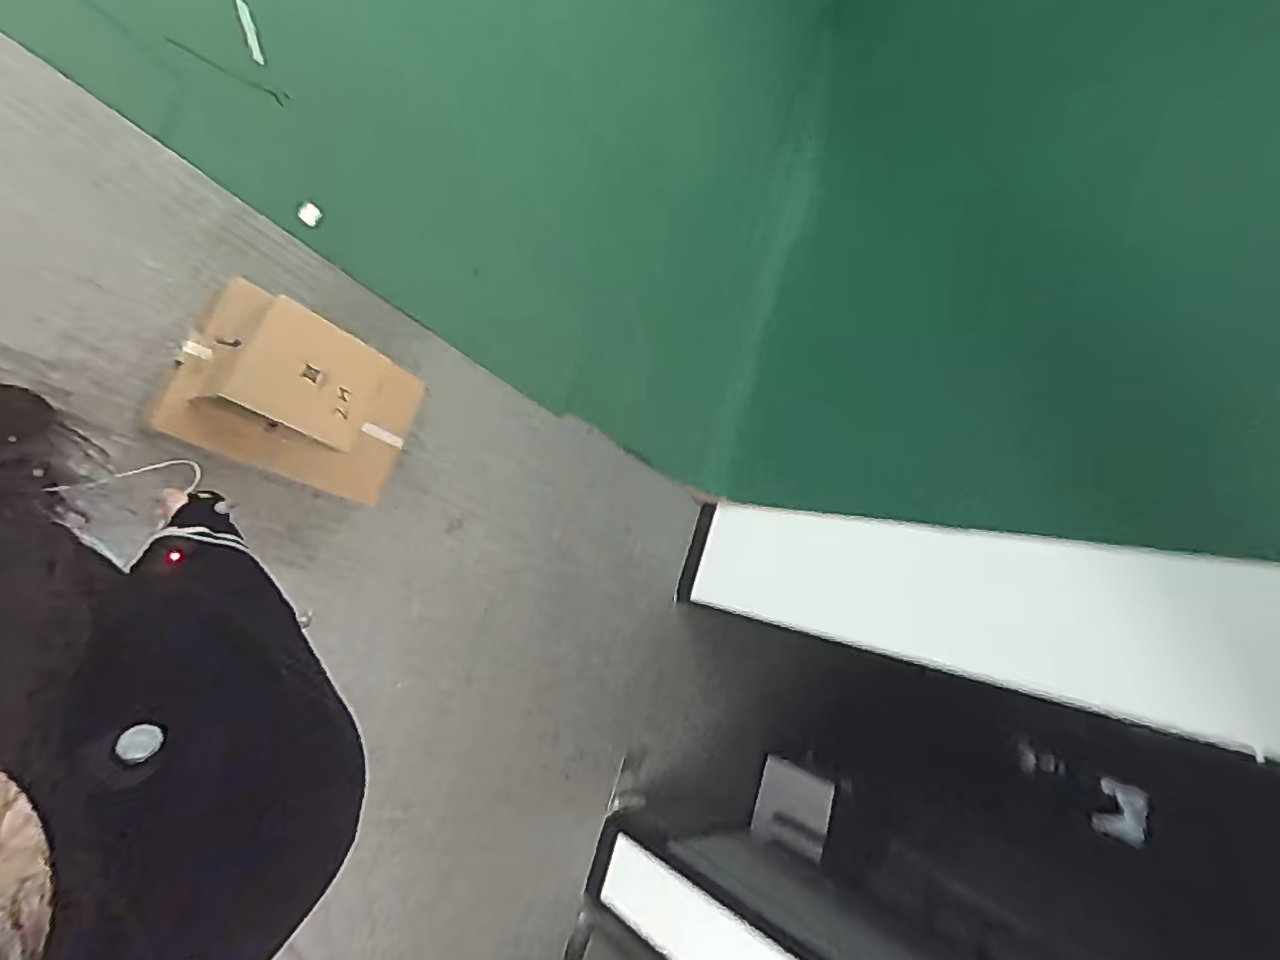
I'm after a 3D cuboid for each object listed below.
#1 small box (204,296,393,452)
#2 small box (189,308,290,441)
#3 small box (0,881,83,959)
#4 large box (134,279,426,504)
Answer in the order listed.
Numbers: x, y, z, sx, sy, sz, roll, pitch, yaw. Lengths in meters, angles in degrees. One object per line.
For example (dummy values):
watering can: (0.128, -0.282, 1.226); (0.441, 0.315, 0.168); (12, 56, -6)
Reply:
small box: (-0.533, -0.155, 0.842); (0.179, 0.176, 0.168); (35, 69, -44)
small box: (-0.650, -0.173, 0.957); (0.179, 0.176, 0.168); (35, 69, -44)
small box: (-0.932, 0.696, 0.745); (0.168, 0.176, 0.179); (46, 62, -42)
large box: (-0.773, -0.168, 1.186); (0.408, 0.320, 0.320); (33, 71, -45)
